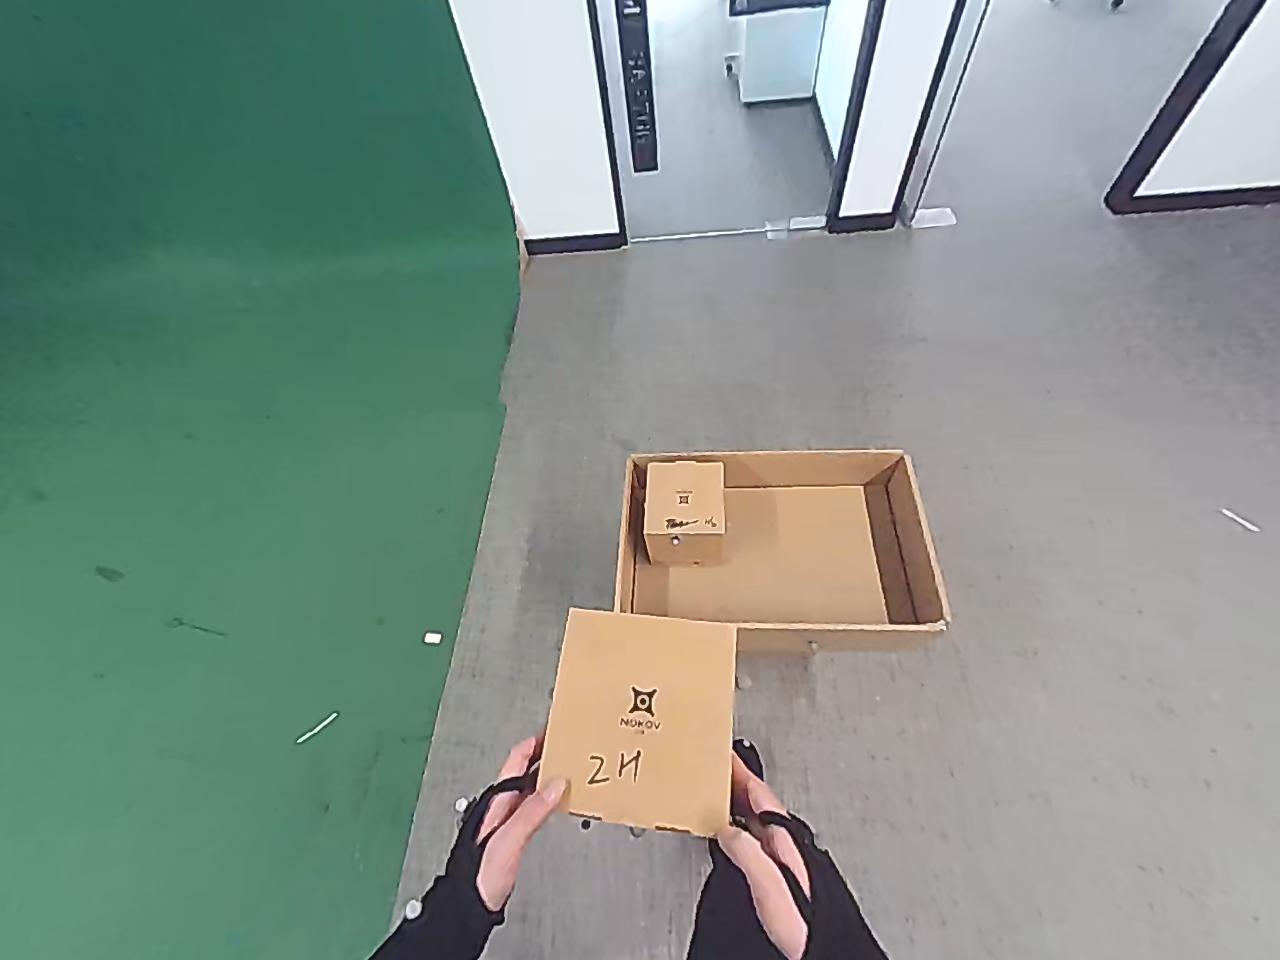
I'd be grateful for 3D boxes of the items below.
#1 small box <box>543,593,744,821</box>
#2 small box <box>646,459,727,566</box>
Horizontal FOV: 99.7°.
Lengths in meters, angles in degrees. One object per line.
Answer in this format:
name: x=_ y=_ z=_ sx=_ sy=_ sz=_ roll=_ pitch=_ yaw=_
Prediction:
small box: x=0.014 y=0.234 z=0.561 sx=0.168 sy=0.176 sz=0.179 roll=5 pitch=62 yaw=8
small box: x=0.106 y=0.073 z=1.194 sx=0.168 sy=0.176 sz=0.179 roll=1 pitch=58 yaw=7
